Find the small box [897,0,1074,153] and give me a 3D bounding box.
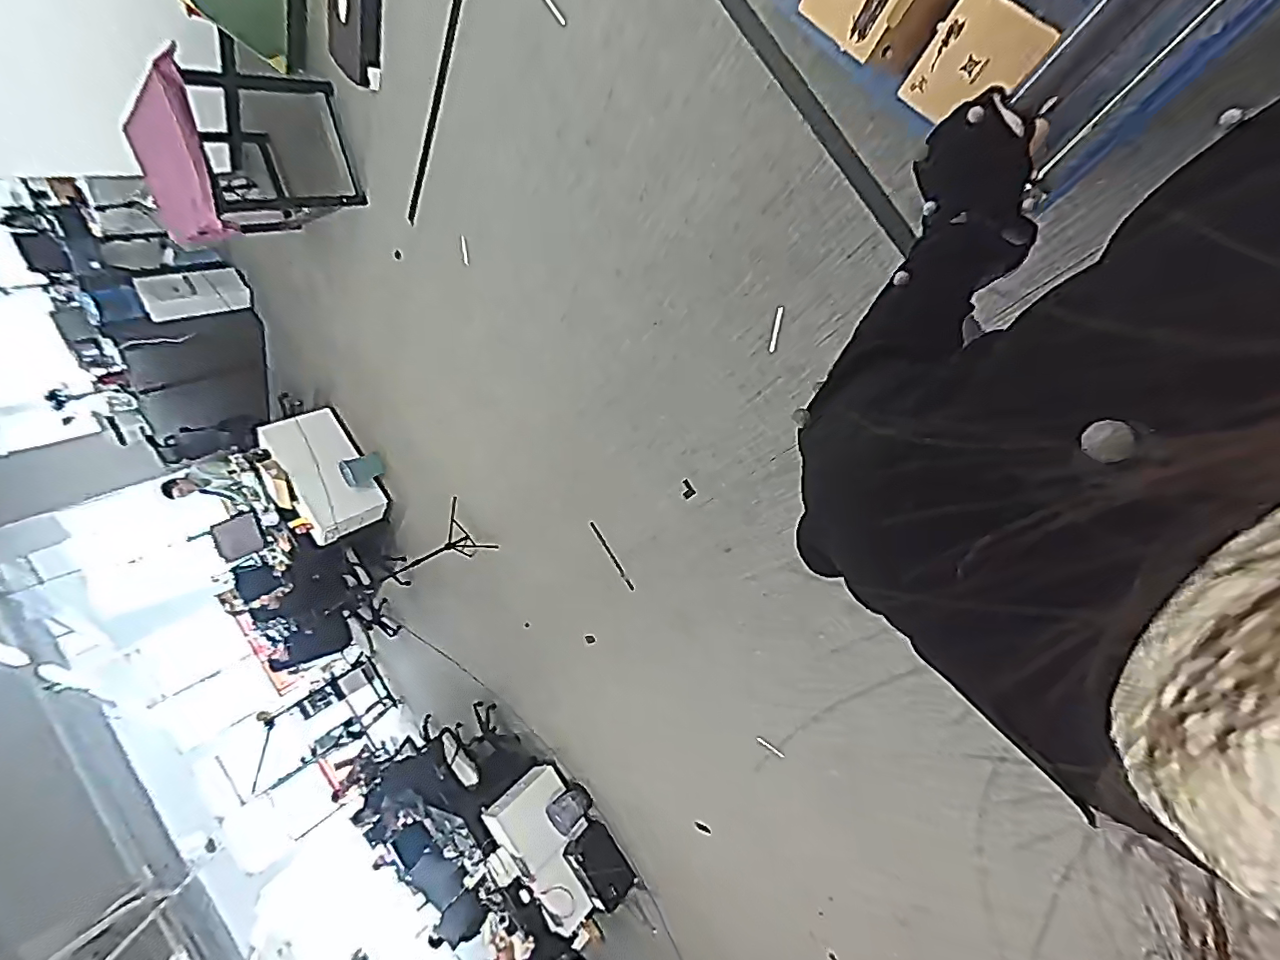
[{"bbox_3d":[0.580,-0.682,0.906,0.179,0.176,0.168,48,137,13],"label":"small box"}]
